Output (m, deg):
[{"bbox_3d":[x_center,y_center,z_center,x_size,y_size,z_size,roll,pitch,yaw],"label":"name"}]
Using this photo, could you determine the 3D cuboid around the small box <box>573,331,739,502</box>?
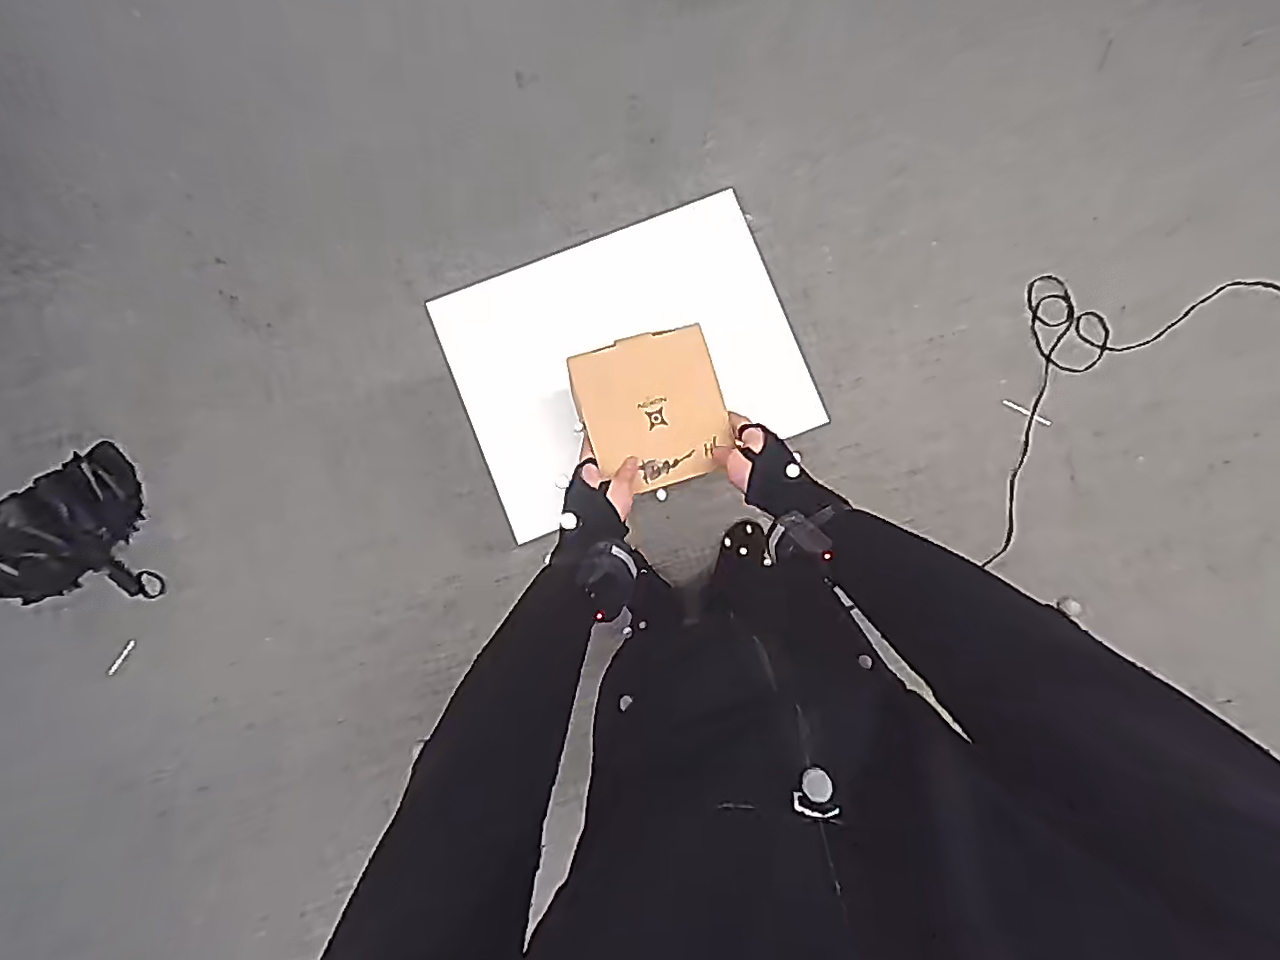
[{"bbox_3d":[0.012,-0.073,0.720,0.168,0.176,0.179,-16,89,-5],"label":"small box"}]
